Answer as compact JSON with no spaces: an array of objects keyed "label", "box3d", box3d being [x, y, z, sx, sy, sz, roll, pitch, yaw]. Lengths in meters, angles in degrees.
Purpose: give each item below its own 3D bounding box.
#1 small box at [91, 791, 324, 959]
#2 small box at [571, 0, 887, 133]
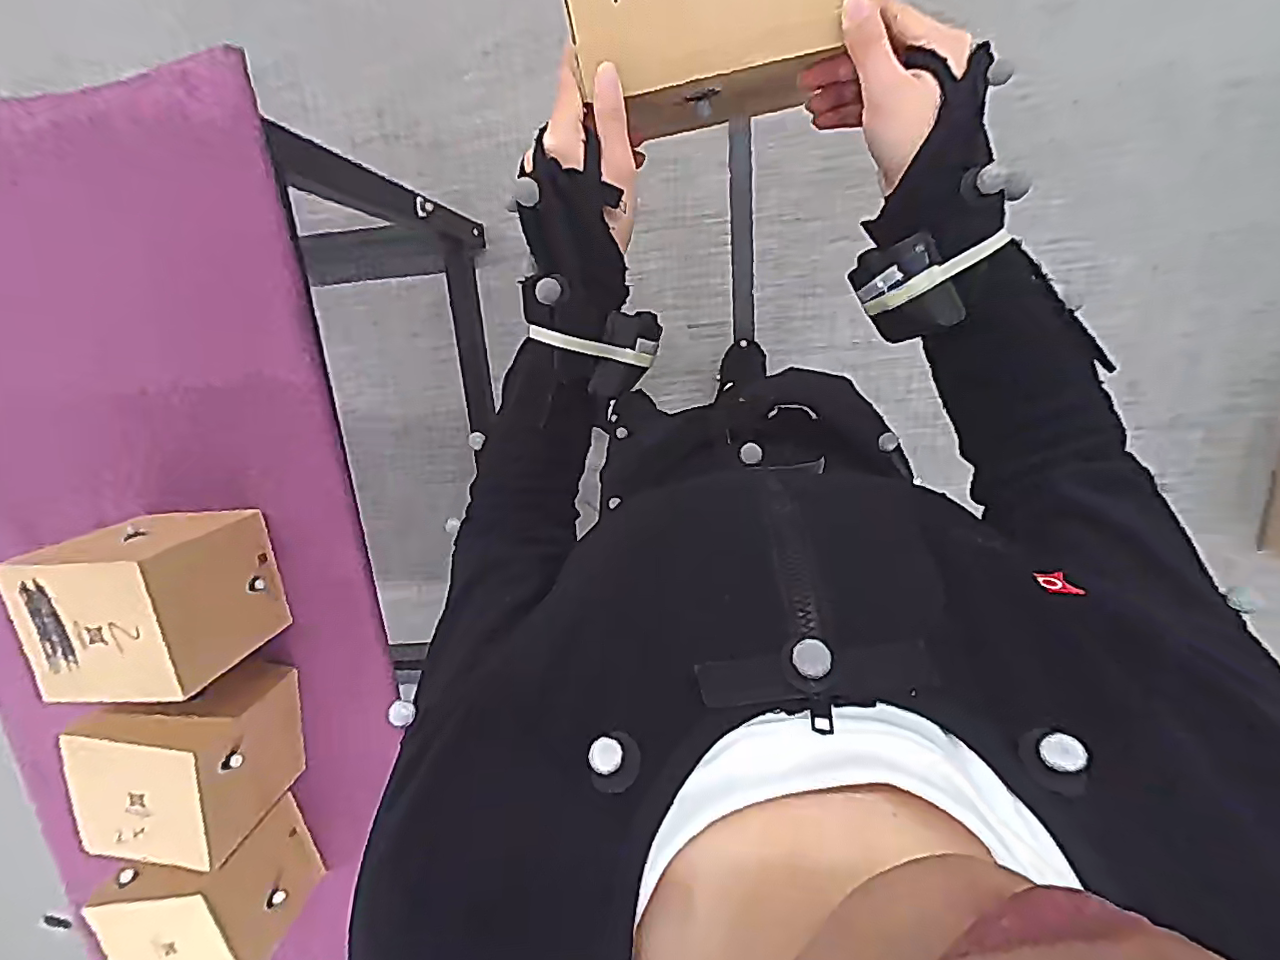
[{"label":"small box","box3d":[-0.589,0.576,0.770,0.179,0.176,0.168,-12,104,7]},{"label":"small box","box3d":[0.041,-0.350,0.354,0.179,0.176,0.168,-10,113,4]}]
